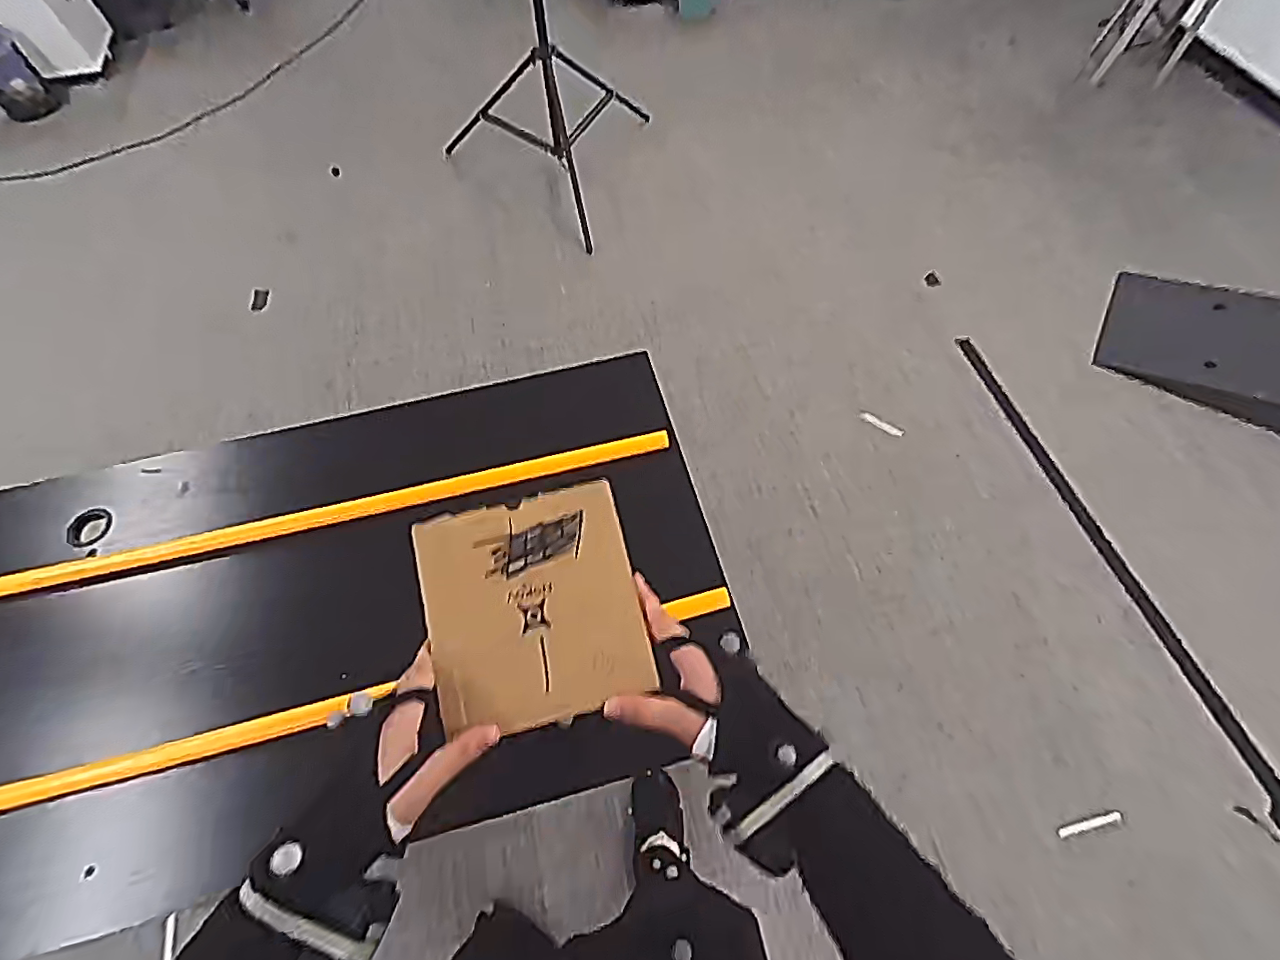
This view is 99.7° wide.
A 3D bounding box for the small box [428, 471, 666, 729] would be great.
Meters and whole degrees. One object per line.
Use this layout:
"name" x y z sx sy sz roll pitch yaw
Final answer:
"small box" -0.083 0.112 0.511 0.168 0.176 0.179 -13 75 -7
